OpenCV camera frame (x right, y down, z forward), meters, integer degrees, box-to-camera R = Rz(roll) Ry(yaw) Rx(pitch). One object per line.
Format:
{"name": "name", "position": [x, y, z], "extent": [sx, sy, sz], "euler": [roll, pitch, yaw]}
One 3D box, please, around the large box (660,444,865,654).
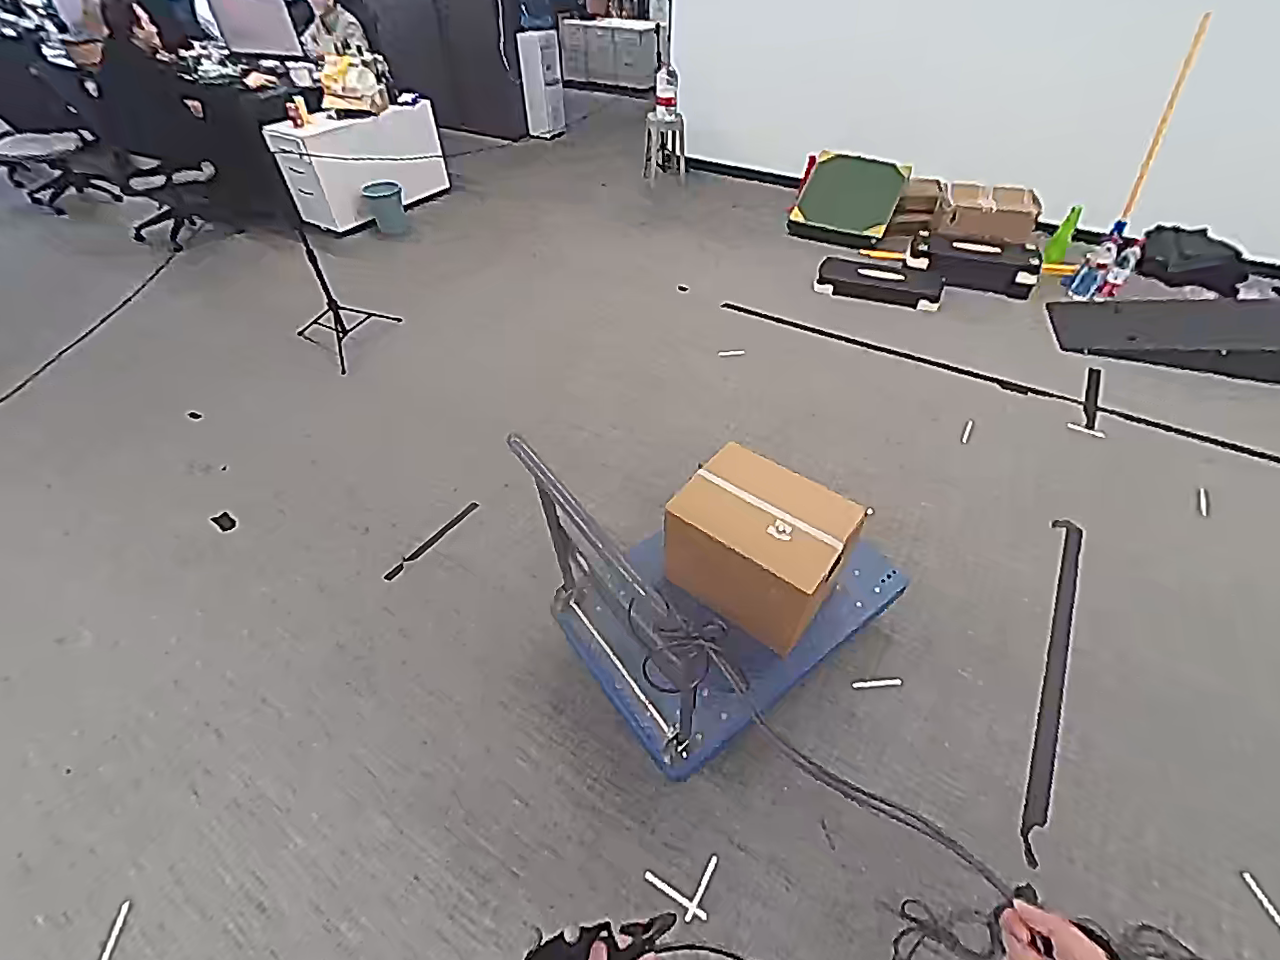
{"name": "large box", "position": [0.303, 0.176, 1.434], "extent": [0.408, 0.320, 0.320], "euler": [30, 55, 25]}
